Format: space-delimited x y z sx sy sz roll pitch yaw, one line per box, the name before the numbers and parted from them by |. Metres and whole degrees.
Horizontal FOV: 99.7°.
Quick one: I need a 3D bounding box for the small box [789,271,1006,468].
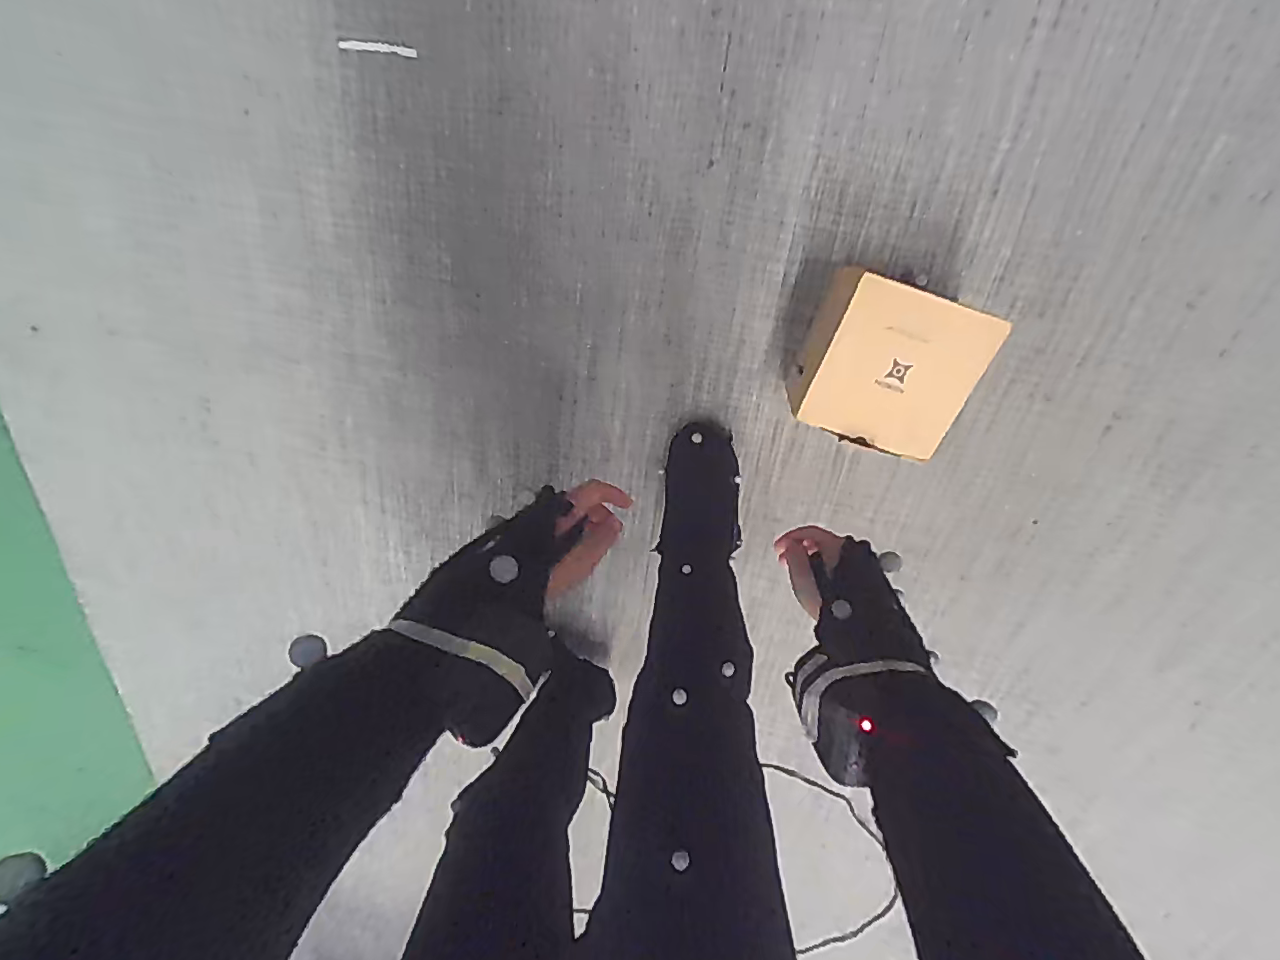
small box | 0.296 -0.145 0.672 0.168 0.176 0.179 19 115 1
